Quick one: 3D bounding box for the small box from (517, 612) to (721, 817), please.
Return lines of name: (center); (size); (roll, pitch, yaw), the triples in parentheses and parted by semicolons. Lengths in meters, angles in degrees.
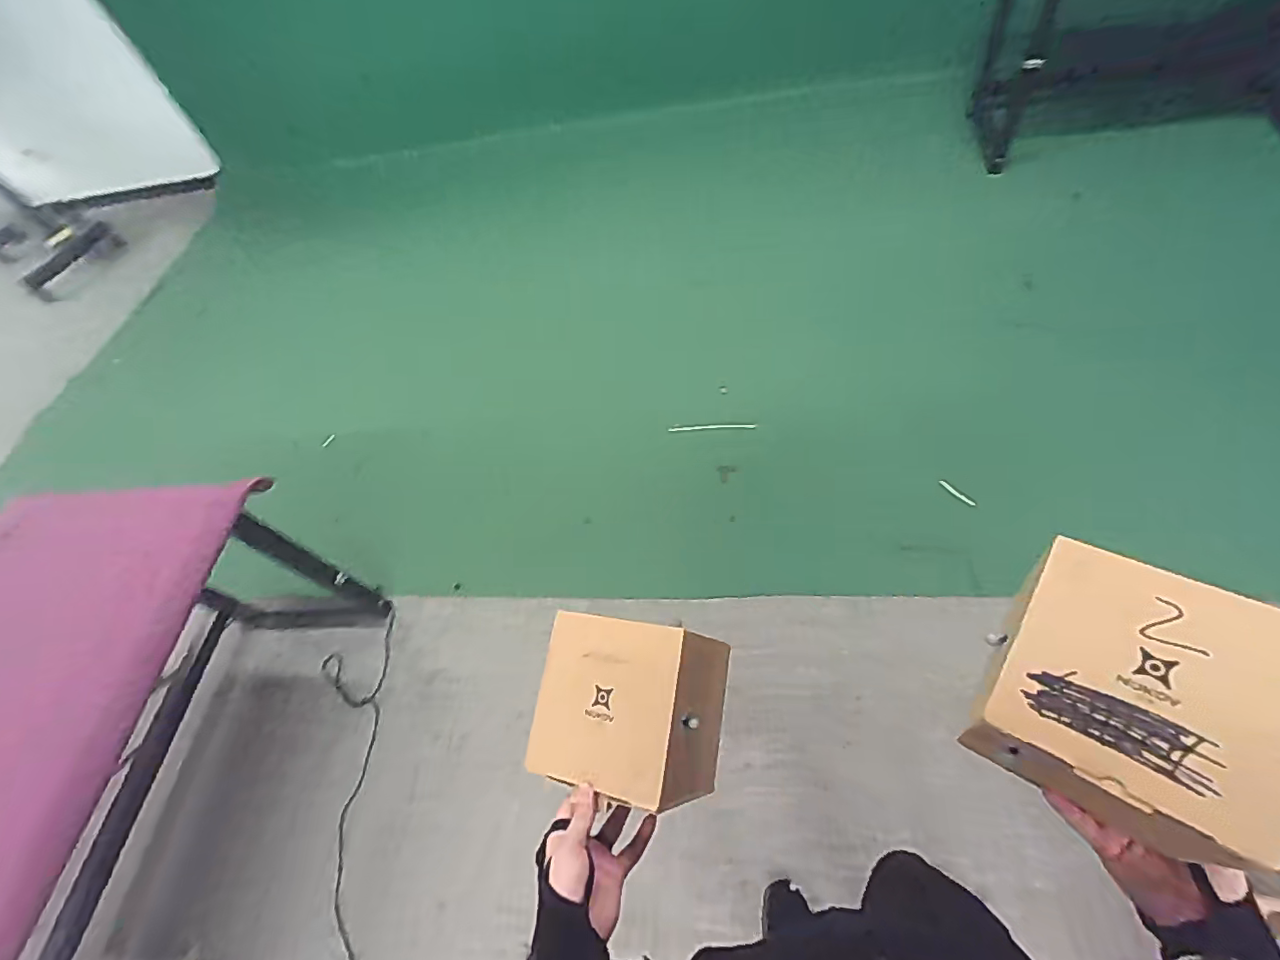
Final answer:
small box: (-0.013, 0.264, 0.638); (0.168, 0.176, 0.179); (1, 70, 28)
